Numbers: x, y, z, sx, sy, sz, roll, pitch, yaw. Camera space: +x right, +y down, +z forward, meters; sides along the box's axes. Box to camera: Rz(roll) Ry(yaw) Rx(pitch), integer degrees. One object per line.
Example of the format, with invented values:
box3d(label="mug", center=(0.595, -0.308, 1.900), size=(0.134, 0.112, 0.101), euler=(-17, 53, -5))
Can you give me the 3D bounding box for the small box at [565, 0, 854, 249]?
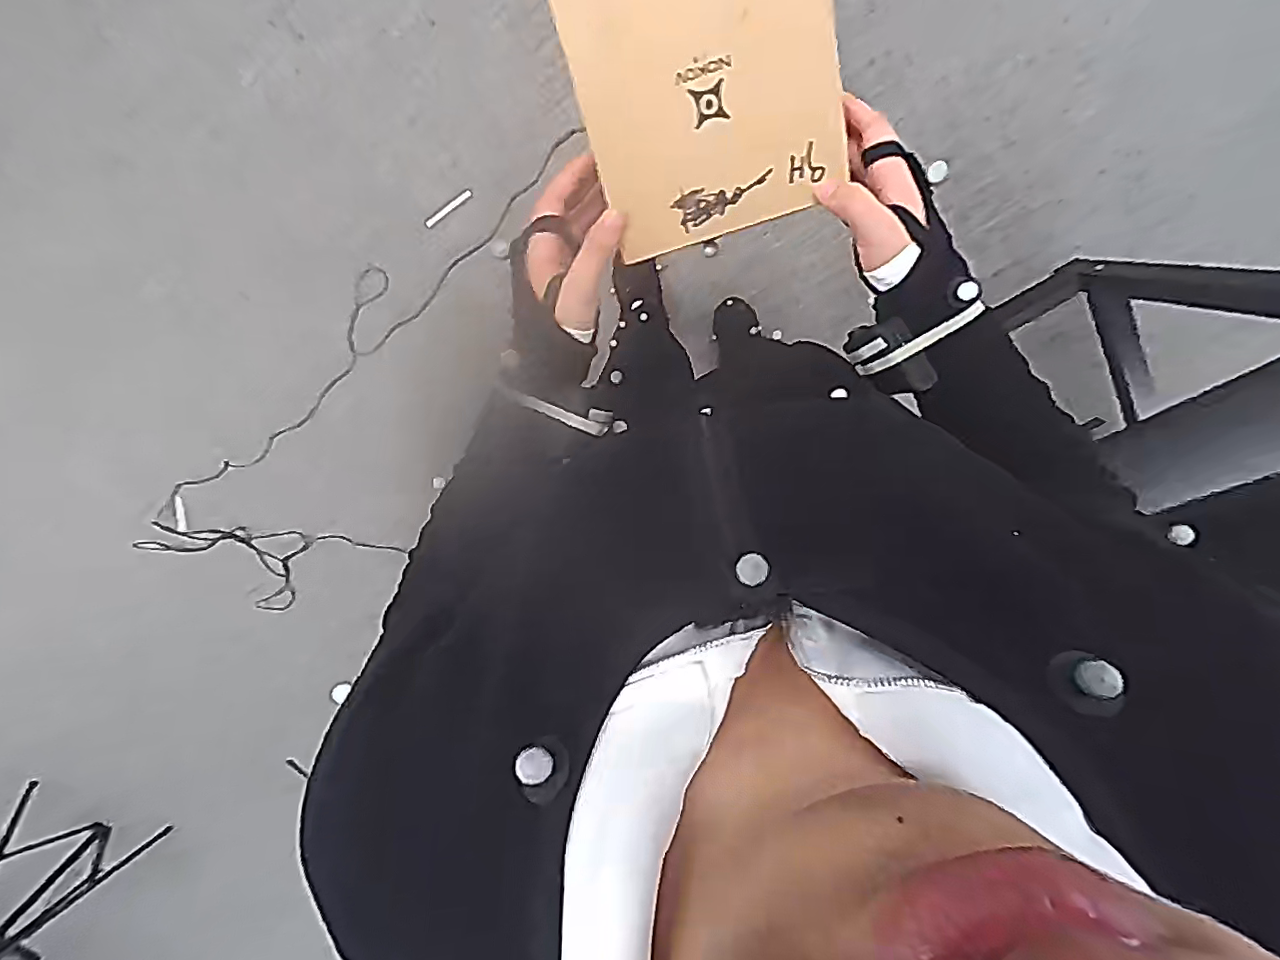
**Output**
box3d(label="small box", center=(0.046, -0.294, 0.420), size=(0.168, 0.176, 0.179), euler=(-15, 115, 7))
